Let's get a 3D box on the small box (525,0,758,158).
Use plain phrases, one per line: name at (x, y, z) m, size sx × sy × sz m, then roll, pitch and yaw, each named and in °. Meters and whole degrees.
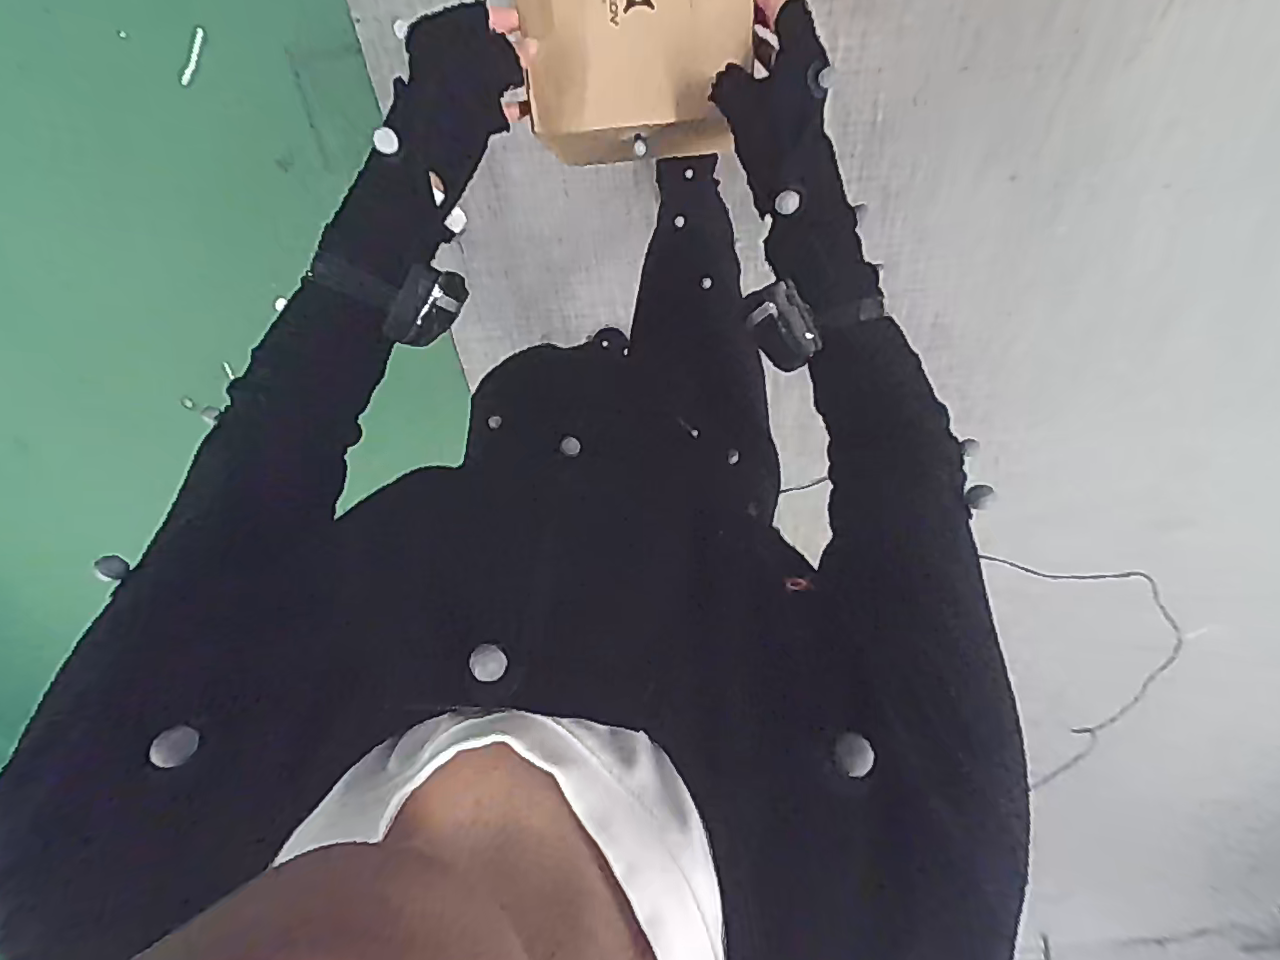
small box at (0.003, -0.392, 0.471) m, size 0.179 × 0.176 × 0.168 m, roll -4°, pitch 112°, yaw 4°
